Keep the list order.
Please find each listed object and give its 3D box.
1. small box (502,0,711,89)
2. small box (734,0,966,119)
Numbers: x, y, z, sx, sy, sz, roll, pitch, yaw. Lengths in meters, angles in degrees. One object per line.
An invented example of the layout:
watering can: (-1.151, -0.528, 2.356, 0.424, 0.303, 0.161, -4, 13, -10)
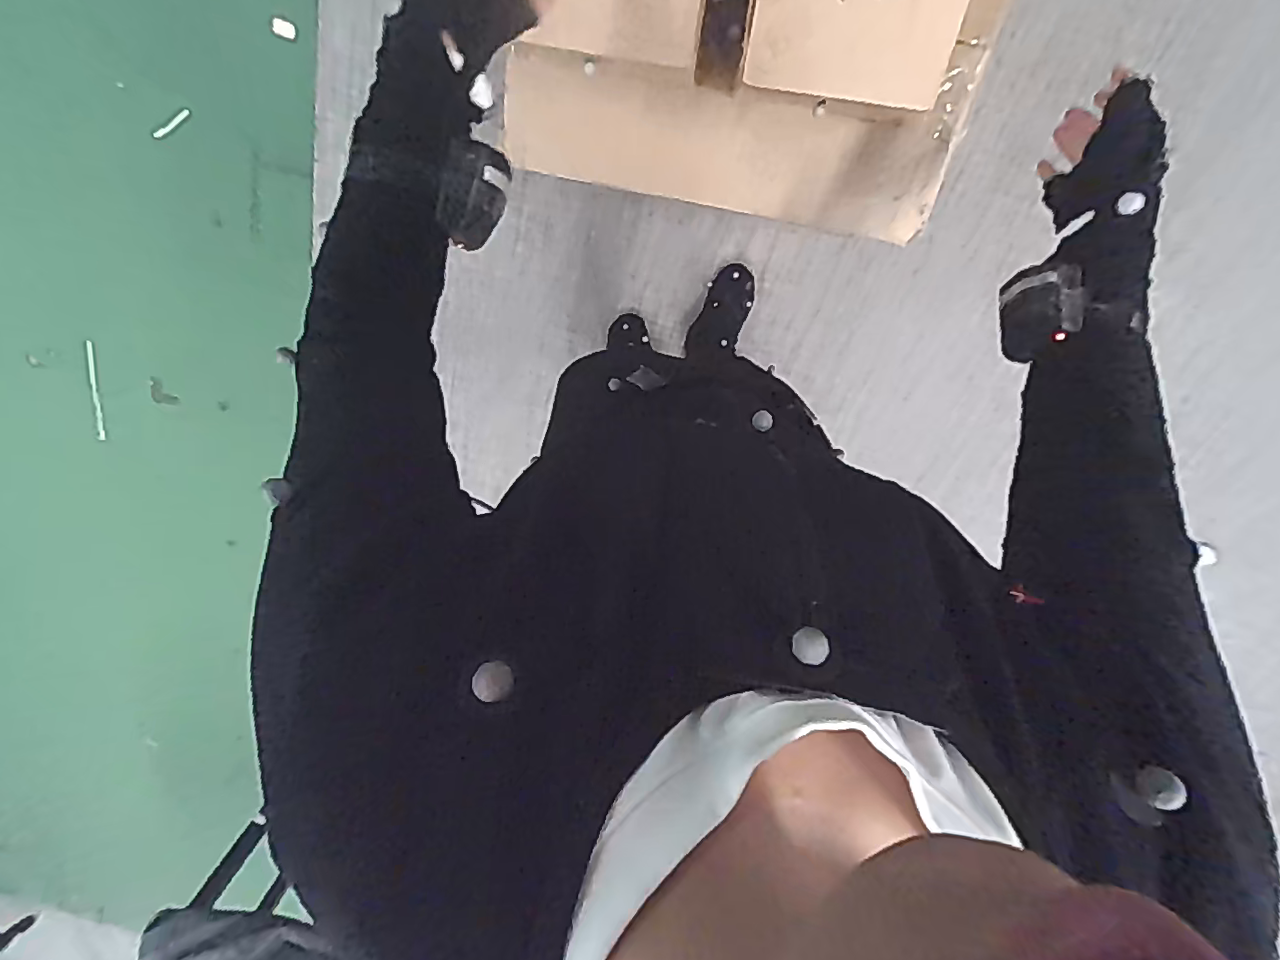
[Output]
small box: (-0.019, -0.491, 0.516, 0.179, 0.176, 0.168, 10, 122, 1)
small box: (0.192, -0.452, 0.513, 0.179, 0.176, 0.168, 8, 122, 1)
